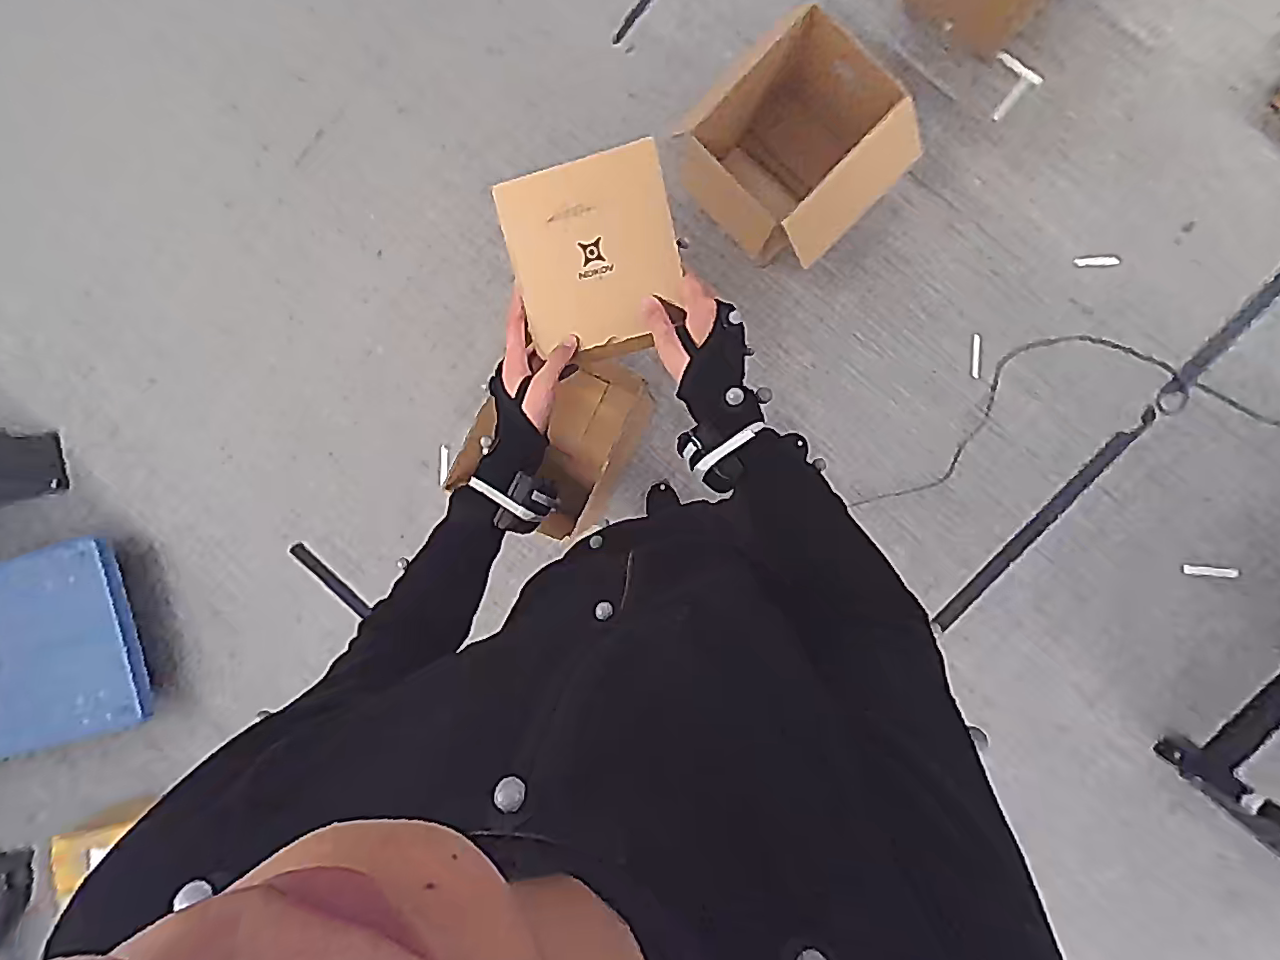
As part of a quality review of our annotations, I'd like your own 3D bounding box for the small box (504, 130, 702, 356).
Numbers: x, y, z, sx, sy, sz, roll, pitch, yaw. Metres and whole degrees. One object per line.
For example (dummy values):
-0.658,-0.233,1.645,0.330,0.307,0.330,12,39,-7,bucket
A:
-0.025,-0.246,0.598,0.168,0.176,0.179,-10,105,9,small box
